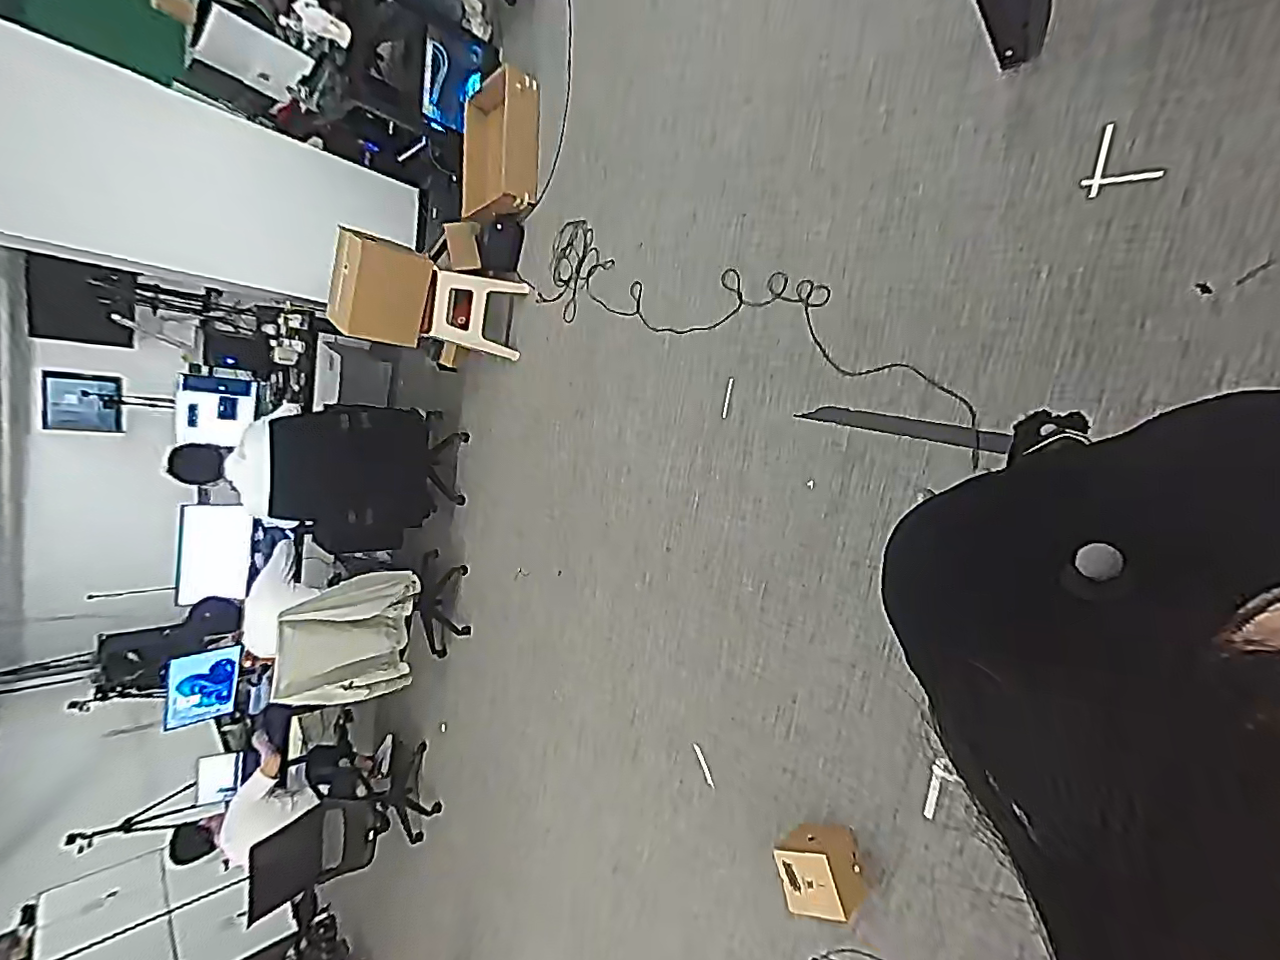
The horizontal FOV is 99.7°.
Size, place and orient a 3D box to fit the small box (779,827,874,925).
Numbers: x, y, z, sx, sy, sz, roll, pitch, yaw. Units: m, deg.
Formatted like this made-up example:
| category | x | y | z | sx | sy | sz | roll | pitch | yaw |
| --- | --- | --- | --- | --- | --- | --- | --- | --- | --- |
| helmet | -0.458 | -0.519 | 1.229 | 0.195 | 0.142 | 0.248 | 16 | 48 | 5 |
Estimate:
| category | x | y | z | sx | sy | sz | roll | pitch | yaw |
| --- | --- | --- | --- | --- | --- | --- | --- | --- | --- |
| small box | 0.532 | 1.118 | 1.544 | 0.179 | 0.176 | 0.168 | -28 | 71 | 40 |
